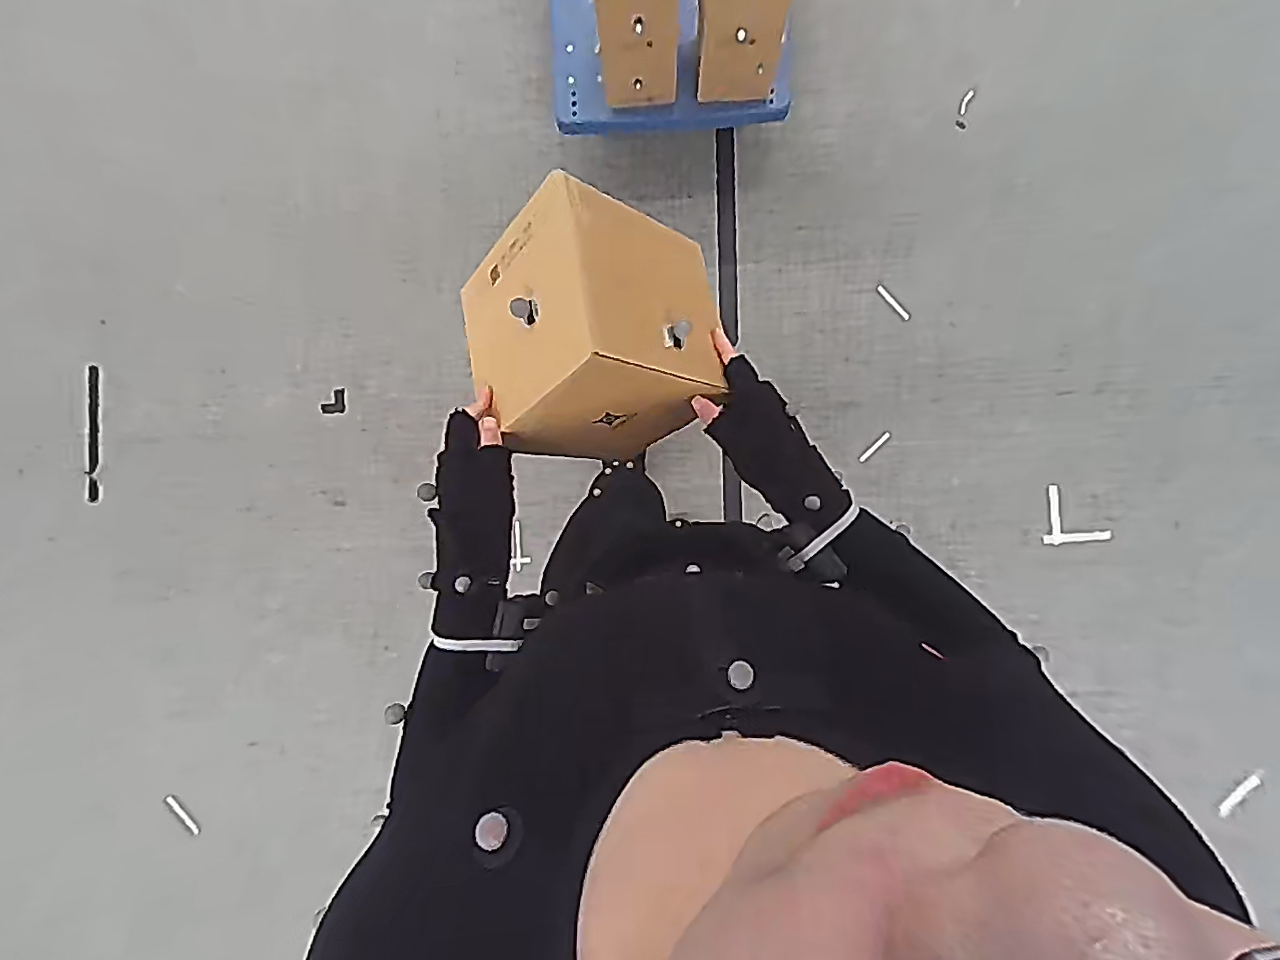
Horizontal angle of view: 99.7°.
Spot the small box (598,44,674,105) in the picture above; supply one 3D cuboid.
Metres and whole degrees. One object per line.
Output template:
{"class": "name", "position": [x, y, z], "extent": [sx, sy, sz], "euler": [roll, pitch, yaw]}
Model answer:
{"class": "small box", "position": [-0.008, -0.992, 1.236], "extent": [0.168, 0.176, 0.179], "euler": [-3, 89, 1]}

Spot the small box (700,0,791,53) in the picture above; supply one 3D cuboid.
{"class": "small box", "position": [0.206, -0.993, 1.063], "extent": [0.168, 0.176, 0.179], "euler": [0, 90, 2]}

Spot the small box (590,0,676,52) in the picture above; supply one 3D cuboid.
{"class": "small box", "position": [-0.016, -0.992, 1.071], "extent": [0.168, 0.176, 0.179], "euler": [-5, 90, 2]}

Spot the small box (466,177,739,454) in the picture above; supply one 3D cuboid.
{"class": "small box", "position": [-0.042, -0.138, 0.501], "extent": [0.168, 0.179, 0.176], "euler": [-28, 69, 41]}
